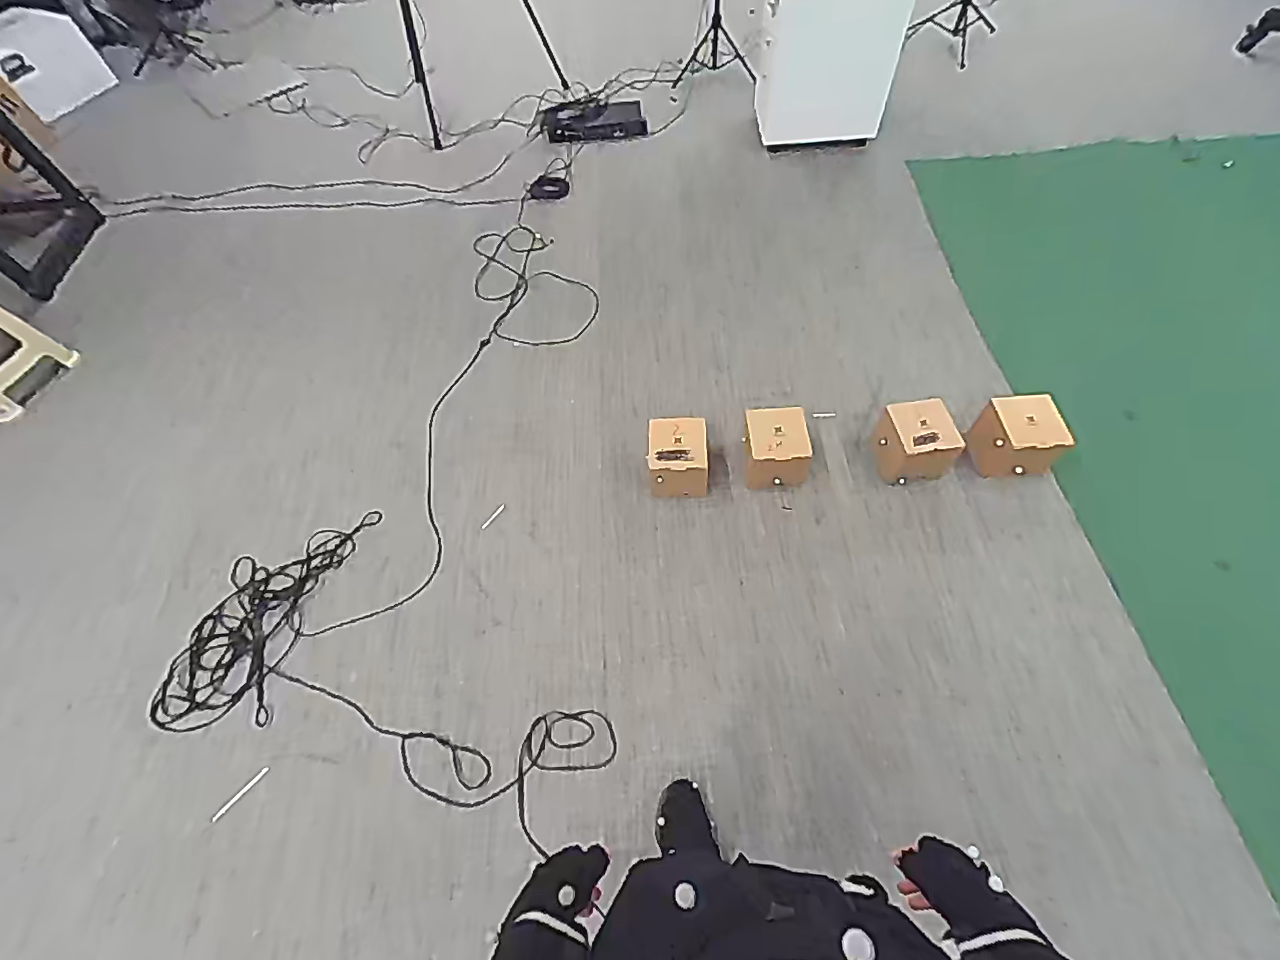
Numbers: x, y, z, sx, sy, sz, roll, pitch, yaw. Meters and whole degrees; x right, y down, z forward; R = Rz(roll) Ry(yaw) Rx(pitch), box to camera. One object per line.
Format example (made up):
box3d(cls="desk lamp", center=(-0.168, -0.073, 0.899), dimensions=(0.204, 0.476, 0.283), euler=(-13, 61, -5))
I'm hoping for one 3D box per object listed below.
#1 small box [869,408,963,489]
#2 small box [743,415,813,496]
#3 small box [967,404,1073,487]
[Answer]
box3d(cls="small box", center=(0.802, -0.086, 1.589), dimensions=(0.168, 0.176, 0.179), euler=(-7, 57, -1))
box3d(cls="small box", center=(0.401, -0.071, 1.604), dimensions=(0.168, 0.176, 0.179), euler=(-3, 59, 3))
box3d(cls="small box", center=(1.095, -0.098, 1.578), dimensions=(0.168, 0.176, 0.179), euler=(-4, 58, 2))
